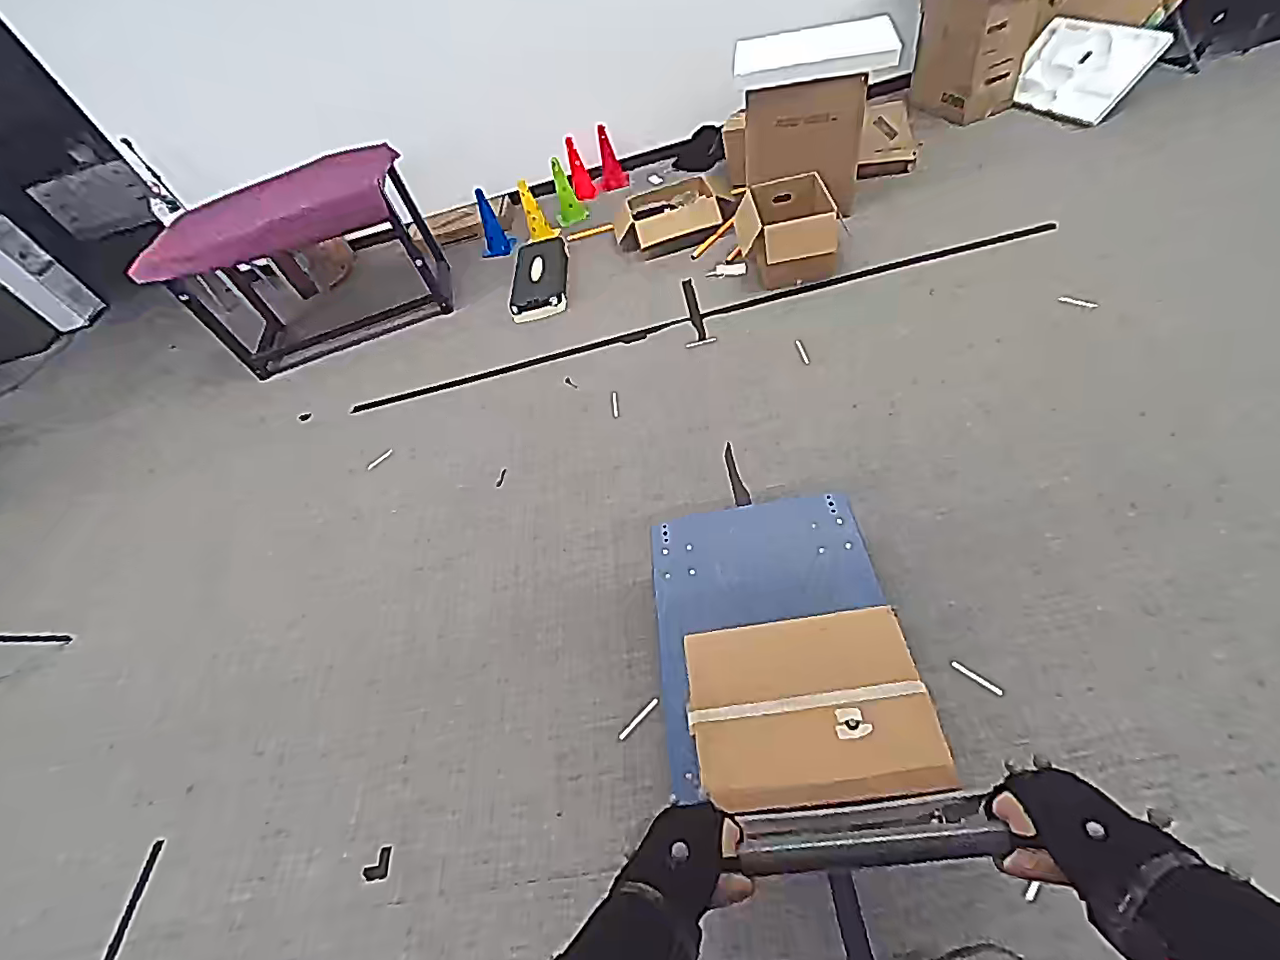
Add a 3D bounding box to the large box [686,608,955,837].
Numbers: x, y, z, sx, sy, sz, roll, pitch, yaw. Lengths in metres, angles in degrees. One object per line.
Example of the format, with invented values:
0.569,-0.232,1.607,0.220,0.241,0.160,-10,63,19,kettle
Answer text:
0.325,0.493,1.082,0.408,0.320,0.320,-11,51,6,large box
